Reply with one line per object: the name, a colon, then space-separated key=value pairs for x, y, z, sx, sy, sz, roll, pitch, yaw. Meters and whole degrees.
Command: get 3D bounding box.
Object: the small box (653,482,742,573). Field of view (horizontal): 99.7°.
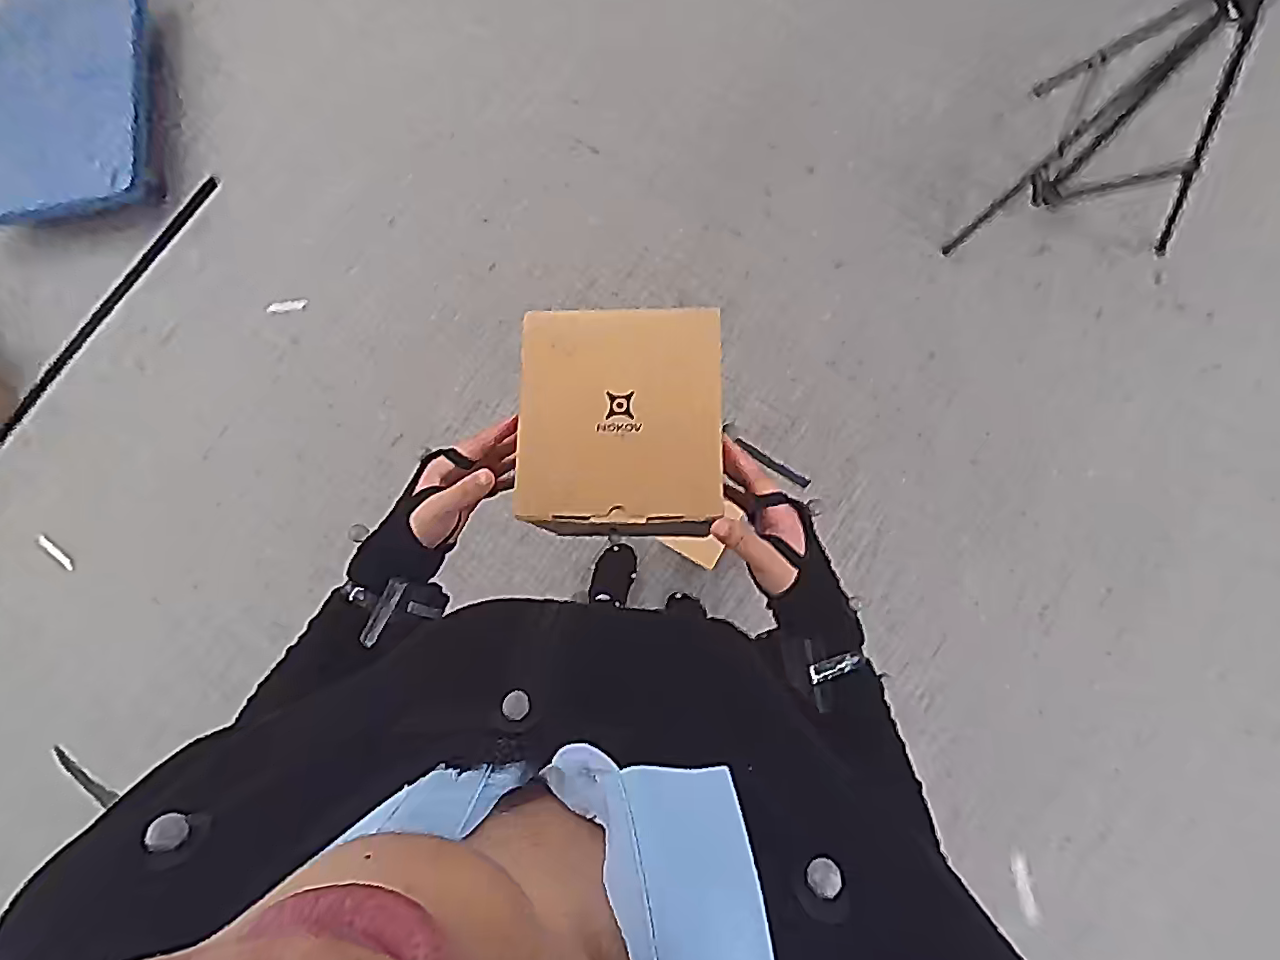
small box: x=0.150 y=0.130 z=1.423 sx=0.168 sy=0.176 sz=0.179 roll=30 pitch=84 yaw=8
